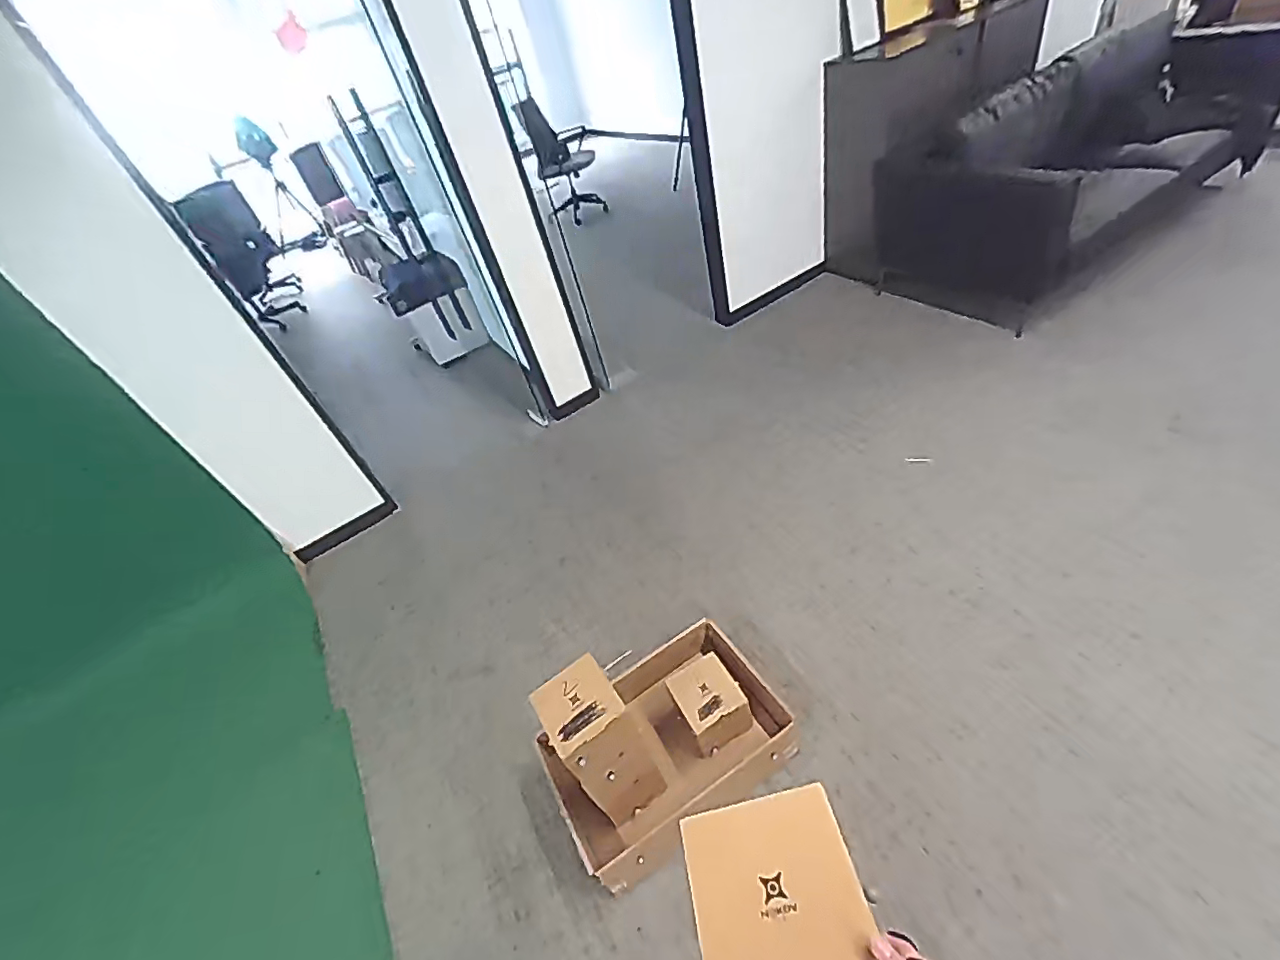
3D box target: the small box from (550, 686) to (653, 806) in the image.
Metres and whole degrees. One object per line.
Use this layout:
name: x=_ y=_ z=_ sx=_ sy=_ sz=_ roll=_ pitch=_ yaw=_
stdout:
small box: x=-0.092 y=0.655 z=1.329 sx=0.168 sy=0.176 sz=0.179 roll=-33 pitch=44 yaw=-16

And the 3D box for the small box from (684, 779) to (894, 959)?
small box: x=0.156 y=0.463 z=0.580 sx=0.168 sy=0.176 sz=0.179 roll=-17 pitch=37 yaw=3
